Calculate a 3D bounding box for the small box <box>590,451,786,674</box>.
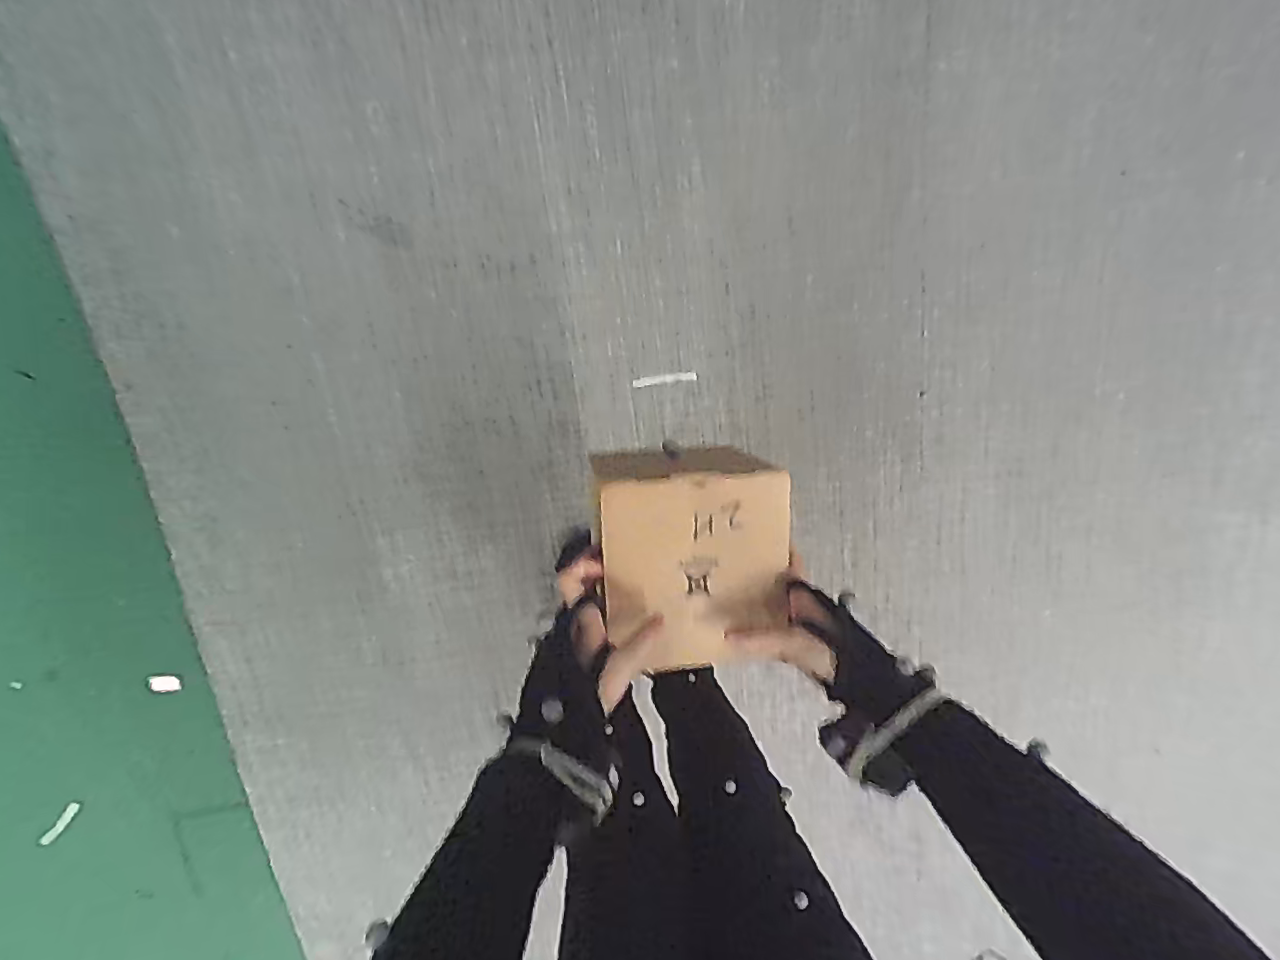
[{"bbox_3d":[0.037,0.071,0.556,0.168,0.176,0.179,-3,102,-8],"label":"small box"}]
